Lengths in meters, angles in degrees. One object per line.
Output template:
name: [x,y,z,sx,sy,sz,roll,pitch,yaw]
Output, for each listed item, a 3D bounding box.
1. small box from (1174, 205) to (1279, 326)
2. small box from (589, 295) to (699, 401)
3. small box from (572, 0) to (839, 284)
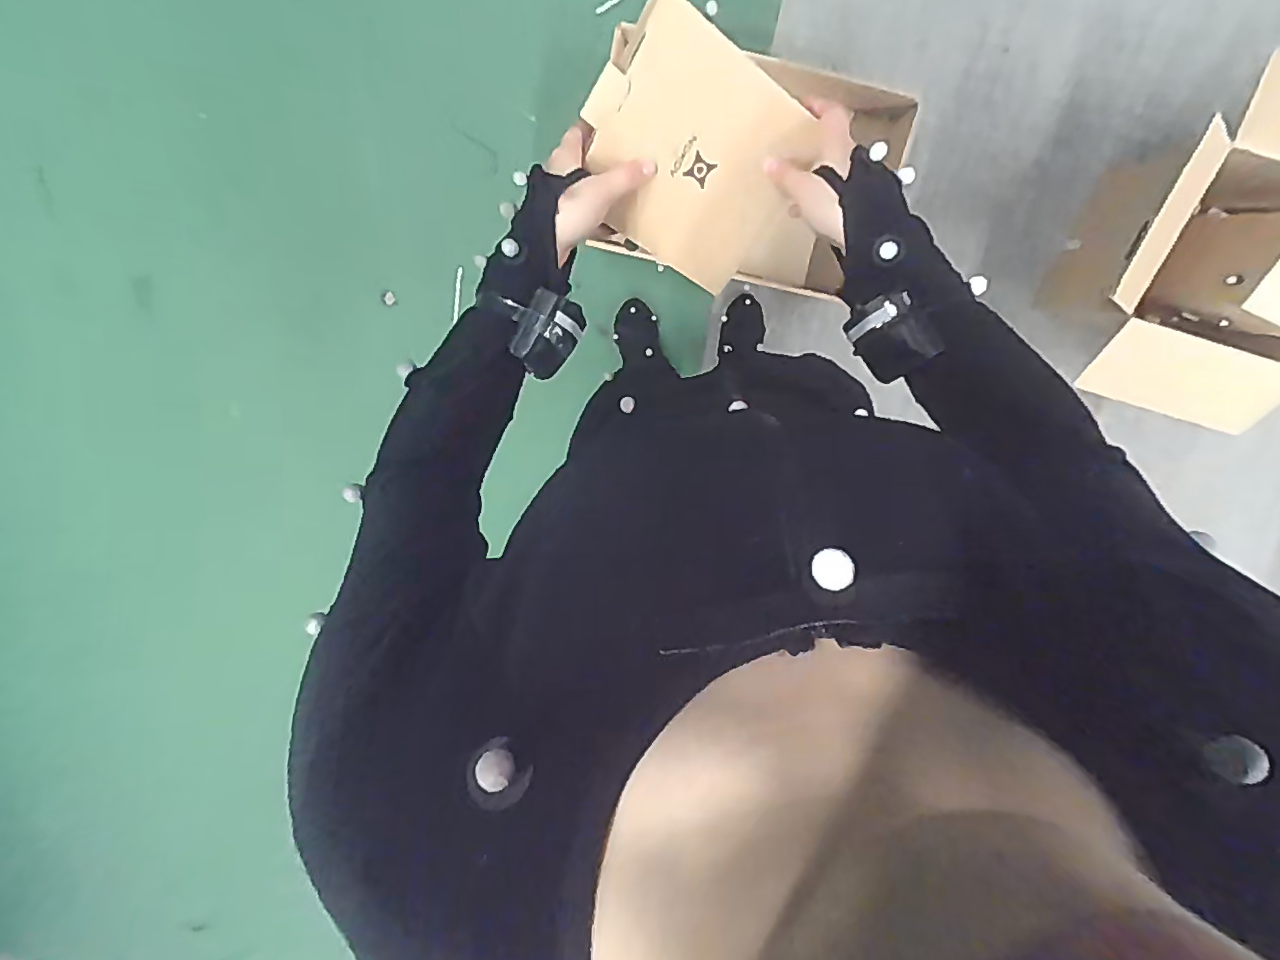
small box: [1.202,-0.406,1.038,0.168,0.176,0.179,20,111,-8]
small box: [0.017,-0.320,1.307,0.176,0.168,0.179,36,84,-39]
small box: [0.052,-0.331,0.526,0.179,0.176,0.168,25,124,-21]
